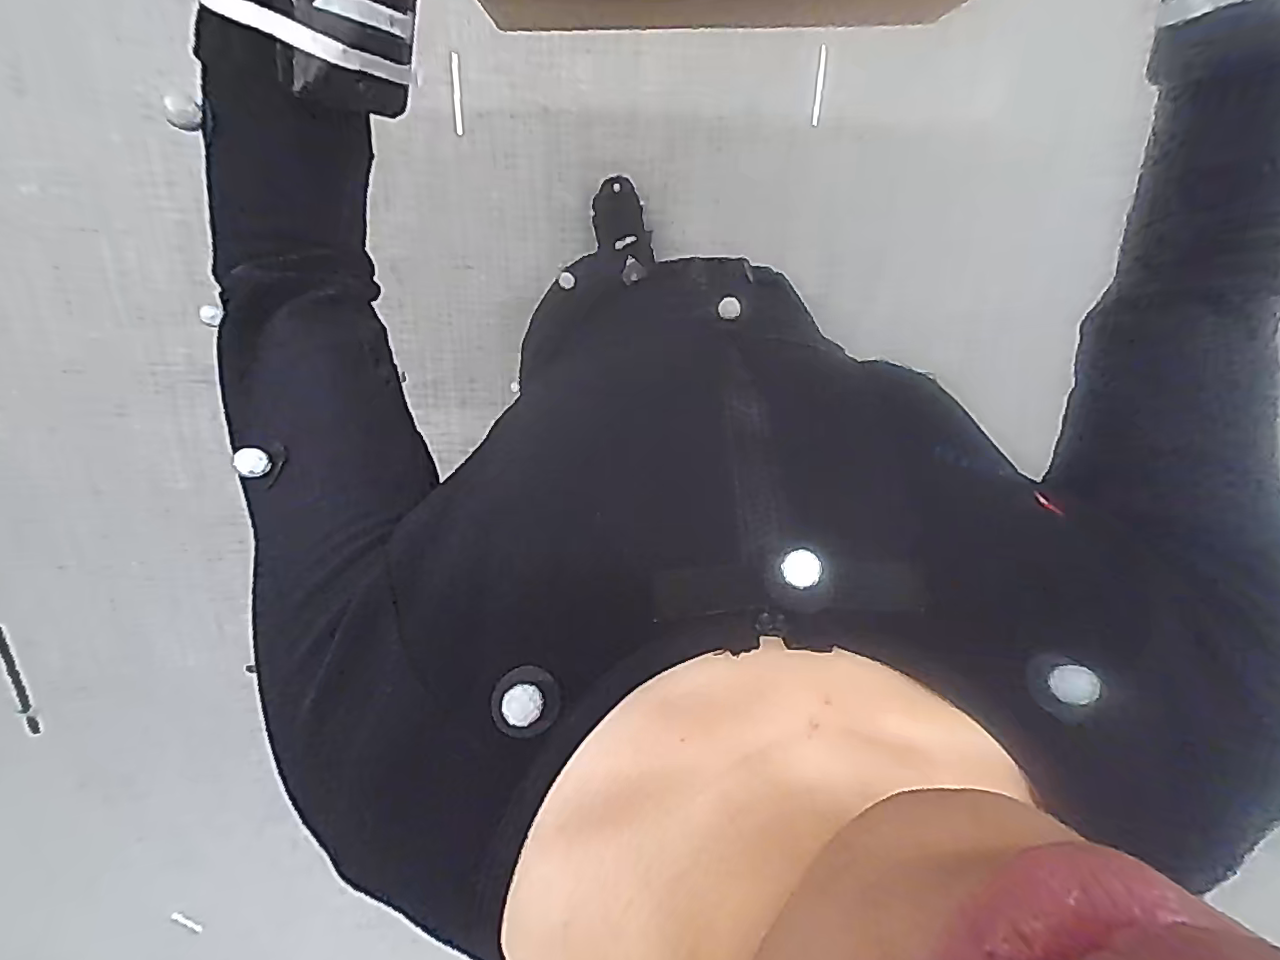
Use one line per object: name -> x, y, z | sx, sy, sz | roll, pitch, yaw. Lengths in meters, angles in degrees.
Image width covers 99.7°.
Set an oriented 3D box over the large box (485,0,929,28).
large box -> 0.063, -0.497, 0.299 | 0.408, 0.320, 0.320 | -2, 117, -1
